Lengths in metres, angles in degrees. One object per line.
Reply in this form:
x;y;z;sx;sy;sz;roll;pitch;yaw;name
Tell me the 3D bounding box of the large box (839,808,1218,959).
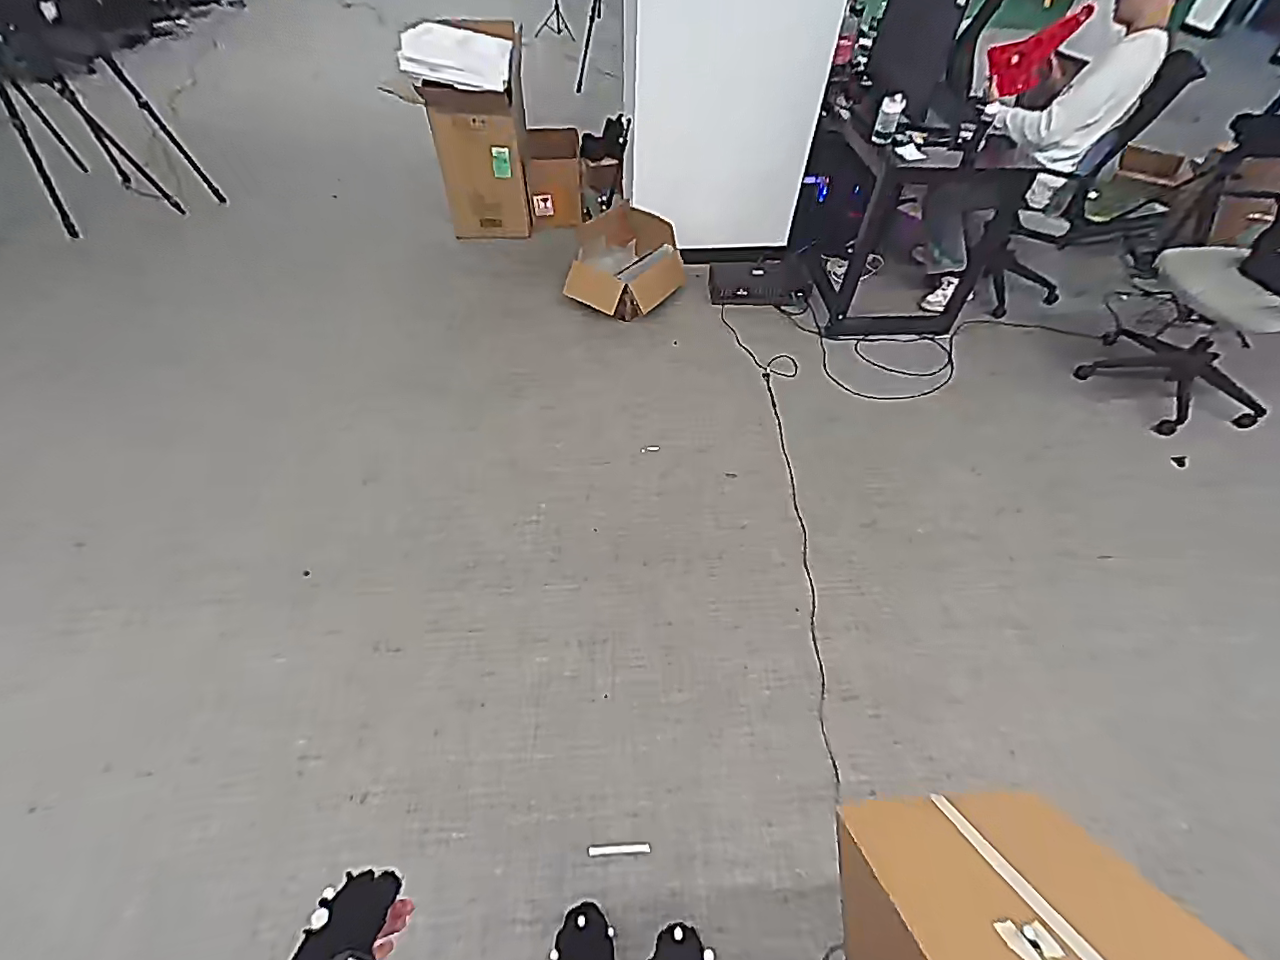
0.463;0.661;0.636;0.320;0.408;0.320;-3;90;-1;large box
